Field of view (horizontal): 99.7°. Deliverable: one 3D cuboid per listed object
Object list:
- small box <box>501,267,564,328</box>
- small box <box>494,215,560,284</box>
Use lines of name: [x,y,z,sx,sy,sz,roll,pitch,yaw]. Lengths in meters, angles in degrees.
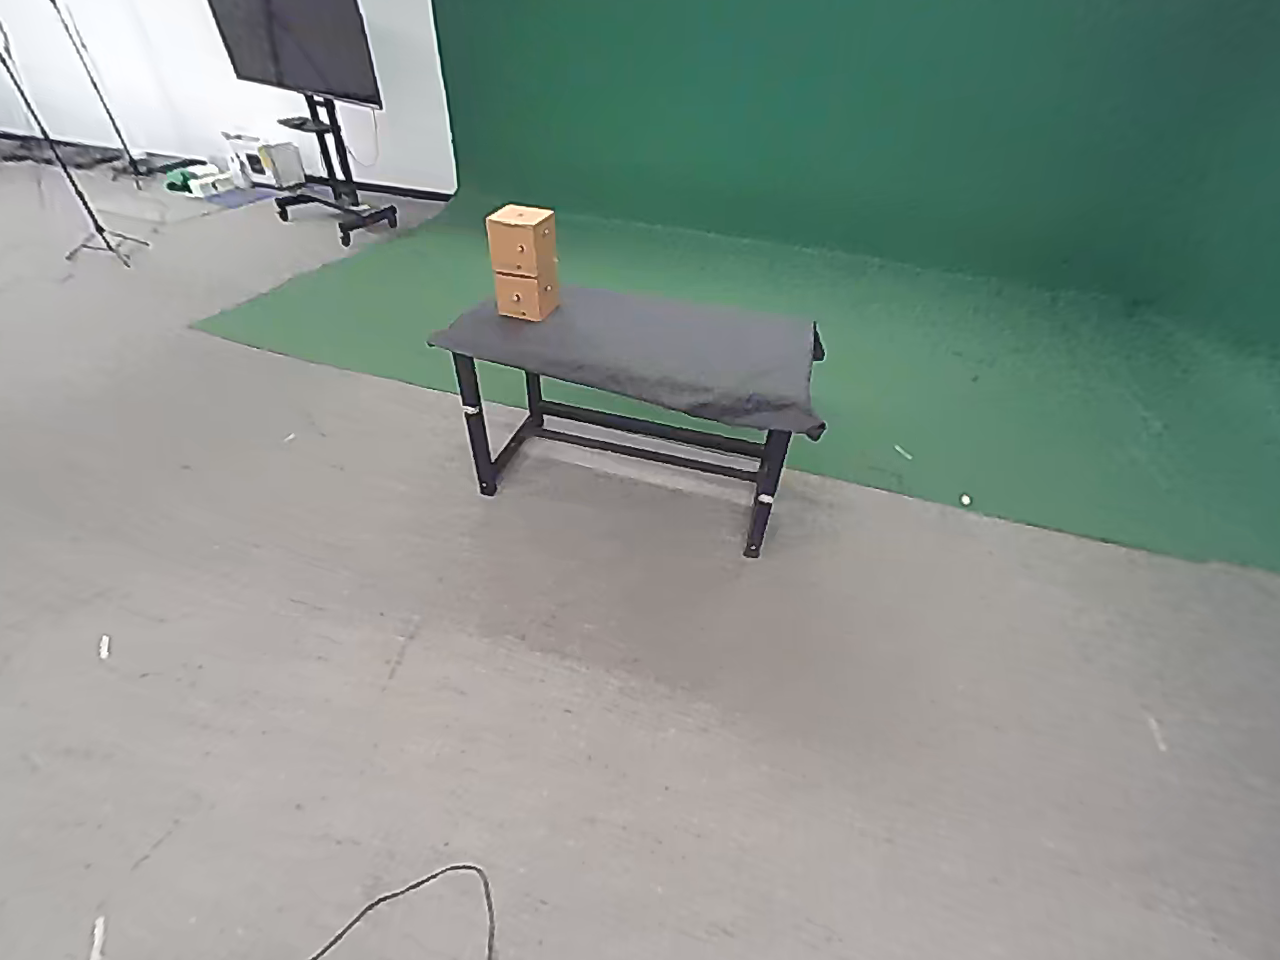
small box: [-0.381,-0.671,1.959,0.168,0.176,0.179,15,42,12]
small box: [-0.376,-0.785,1.842,0.168,0.176,0.179,13,41,10]
